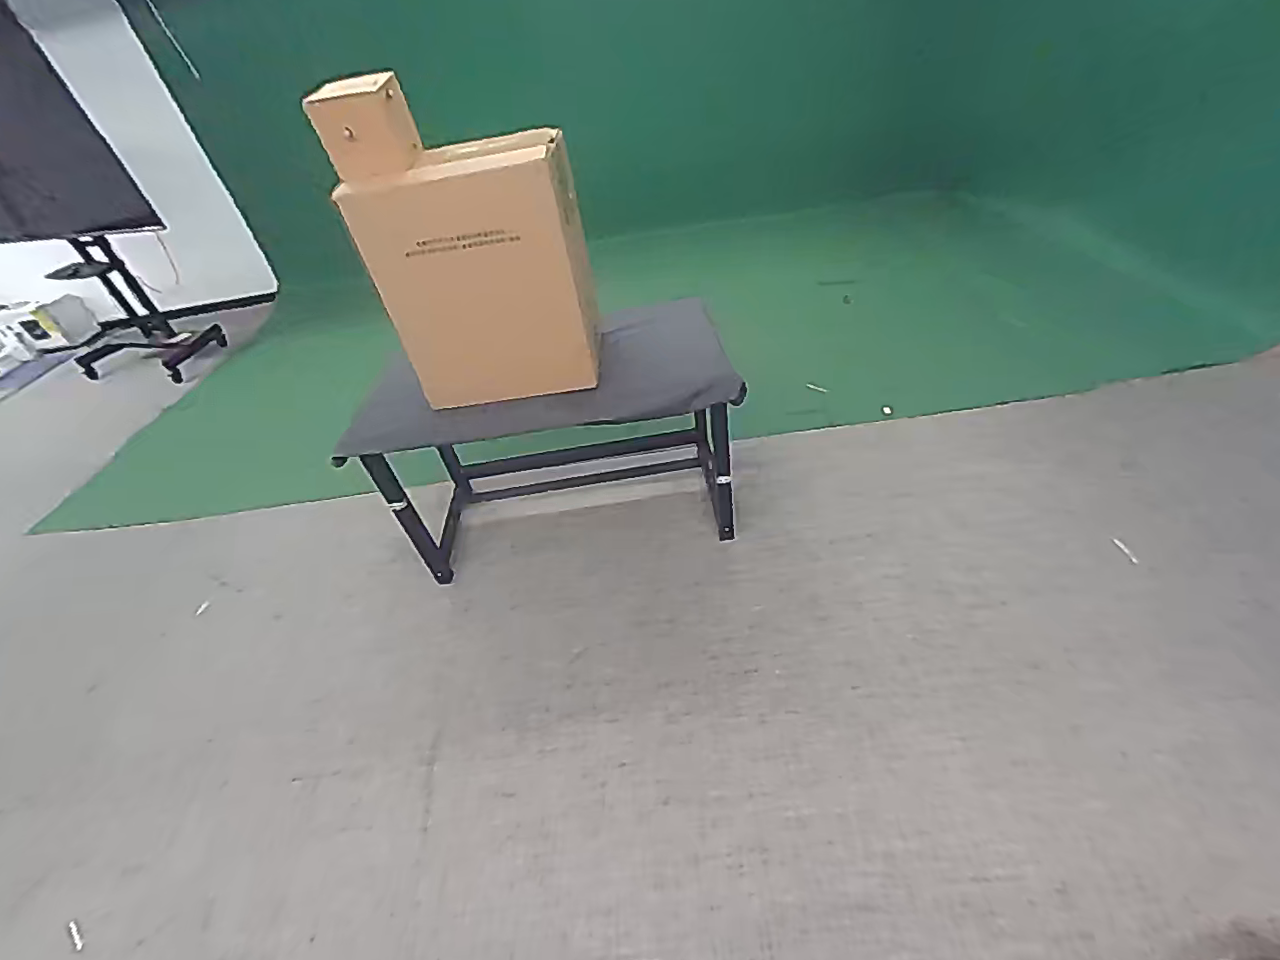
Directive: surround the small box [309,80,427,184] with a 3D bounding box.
[{"bbox_3d":[-0.659,-0.852,1.332,0.179,0.176,0.168,-7,49,5],"label":"small box"}]
